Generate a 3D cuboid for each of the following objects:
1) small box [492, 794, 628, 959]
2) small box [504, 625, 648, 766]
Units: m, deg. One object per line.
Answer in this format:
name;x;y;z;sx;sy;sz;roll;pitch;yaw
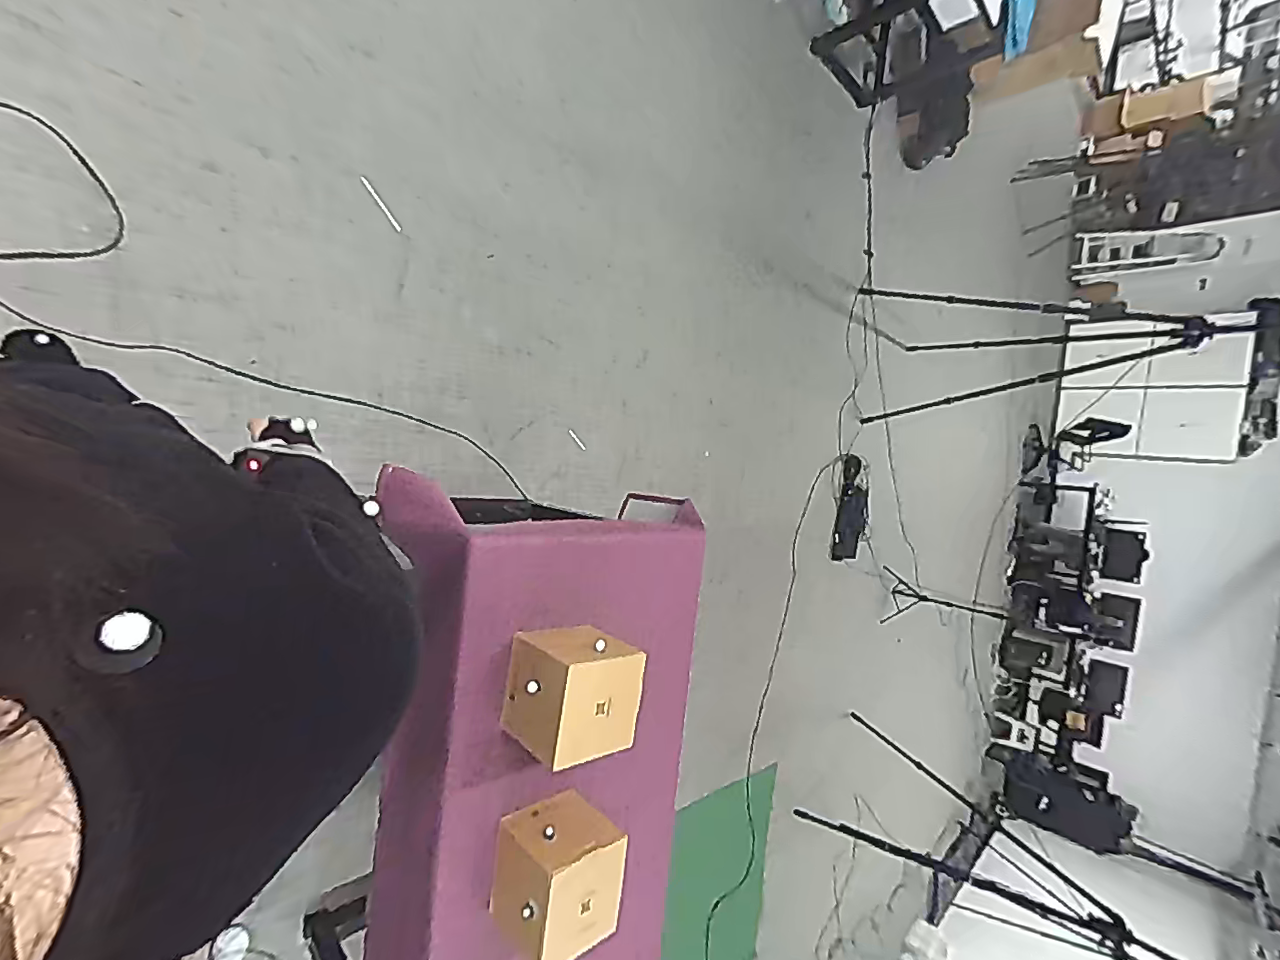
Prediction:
small box;-0.145;0.692;0.959;0.168;0.176;0.179;7;92;-44
small box;-0.114;0.360;0.940;0.179;0.176;0.168;9;90;-45
